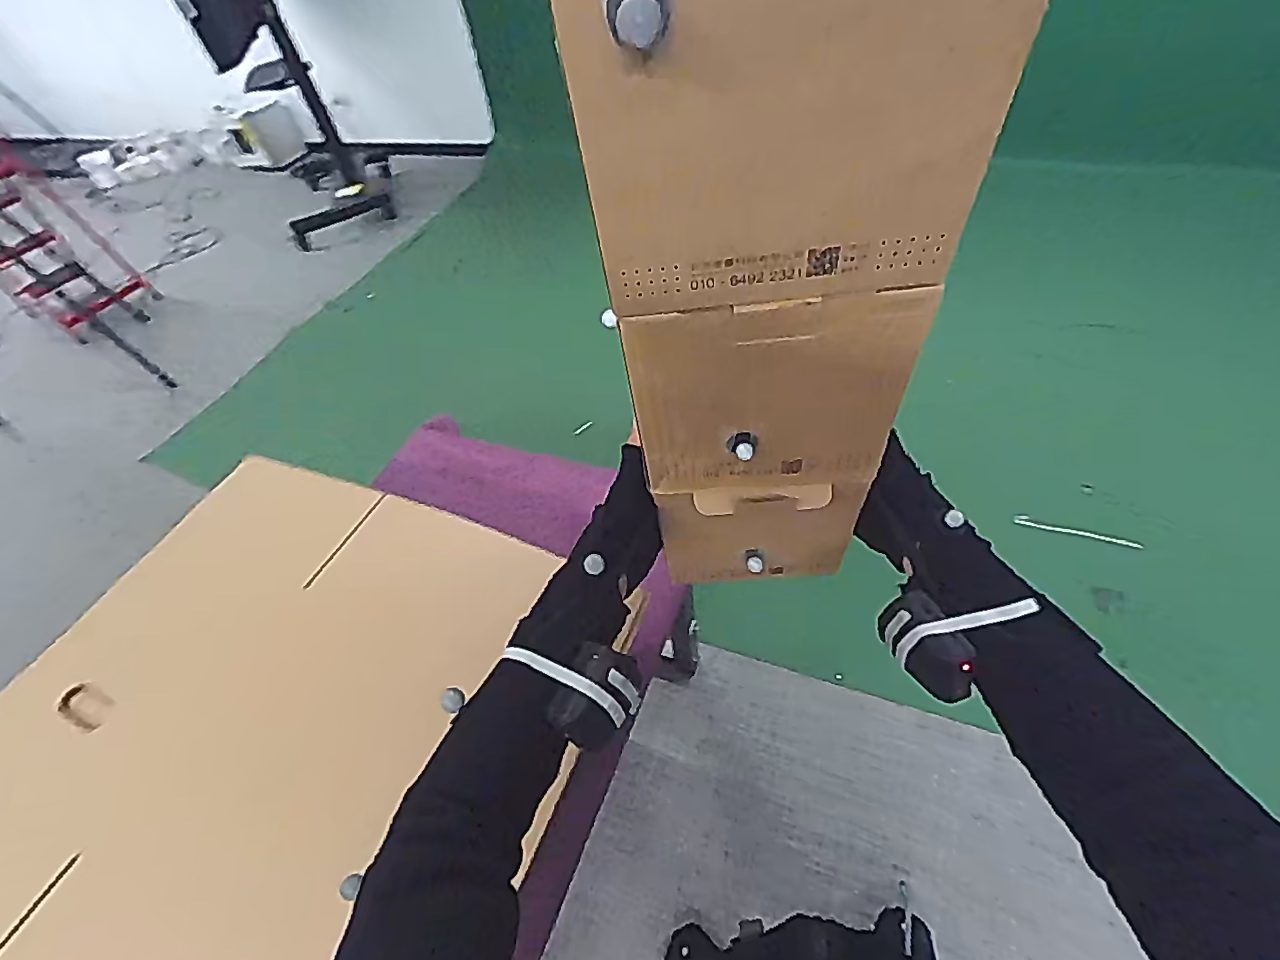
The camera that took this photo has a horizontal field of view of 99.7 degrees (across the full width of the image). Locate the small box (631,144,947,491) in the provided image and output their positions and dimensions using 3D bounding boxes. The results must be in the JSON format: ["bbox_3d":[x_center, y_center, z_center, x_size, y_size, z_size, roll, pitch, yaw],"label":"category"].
[{"bbox_3d":[0.087,-0.111,0.396,0.168,0.176,0.179,-4,55,6],"label":"small box"}]

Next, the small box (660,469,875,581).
[{"bbox_3d":[0.108,-0.017,0.527,0.168,0.176,0.179,-3,54,7],"label":"small box"}]
